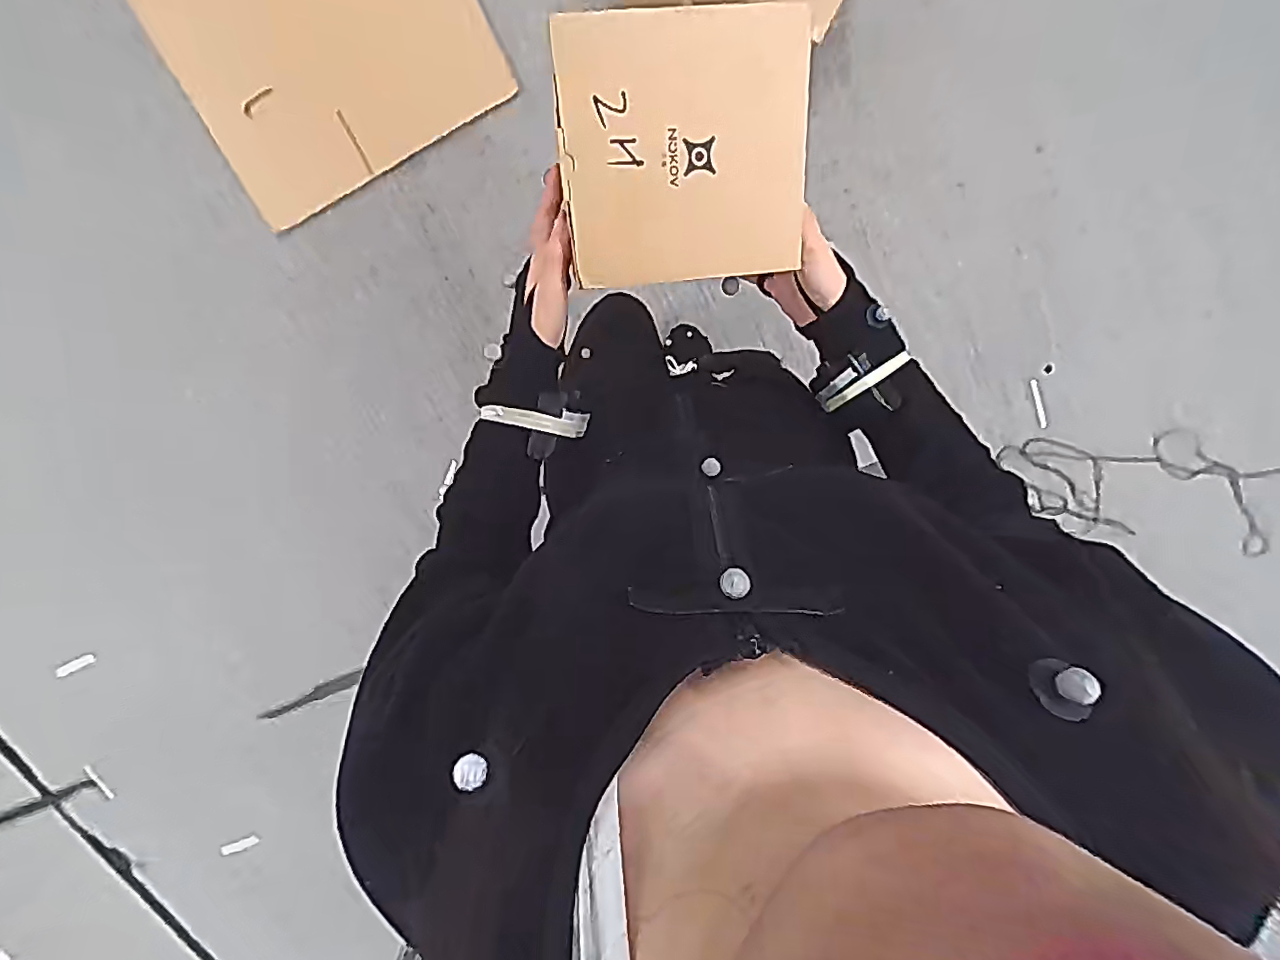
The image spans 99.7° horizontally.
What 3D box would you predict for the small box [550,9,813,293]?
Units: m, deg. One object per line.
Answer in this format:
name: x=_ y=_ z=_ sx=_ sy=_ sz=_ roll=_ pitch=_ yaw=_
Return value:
small box: x=0.023 y=-0.255 z=0.449 sx=0.179 sy=0.176 sz=0.168 roll=-8 pitch=114 yaw=-5
